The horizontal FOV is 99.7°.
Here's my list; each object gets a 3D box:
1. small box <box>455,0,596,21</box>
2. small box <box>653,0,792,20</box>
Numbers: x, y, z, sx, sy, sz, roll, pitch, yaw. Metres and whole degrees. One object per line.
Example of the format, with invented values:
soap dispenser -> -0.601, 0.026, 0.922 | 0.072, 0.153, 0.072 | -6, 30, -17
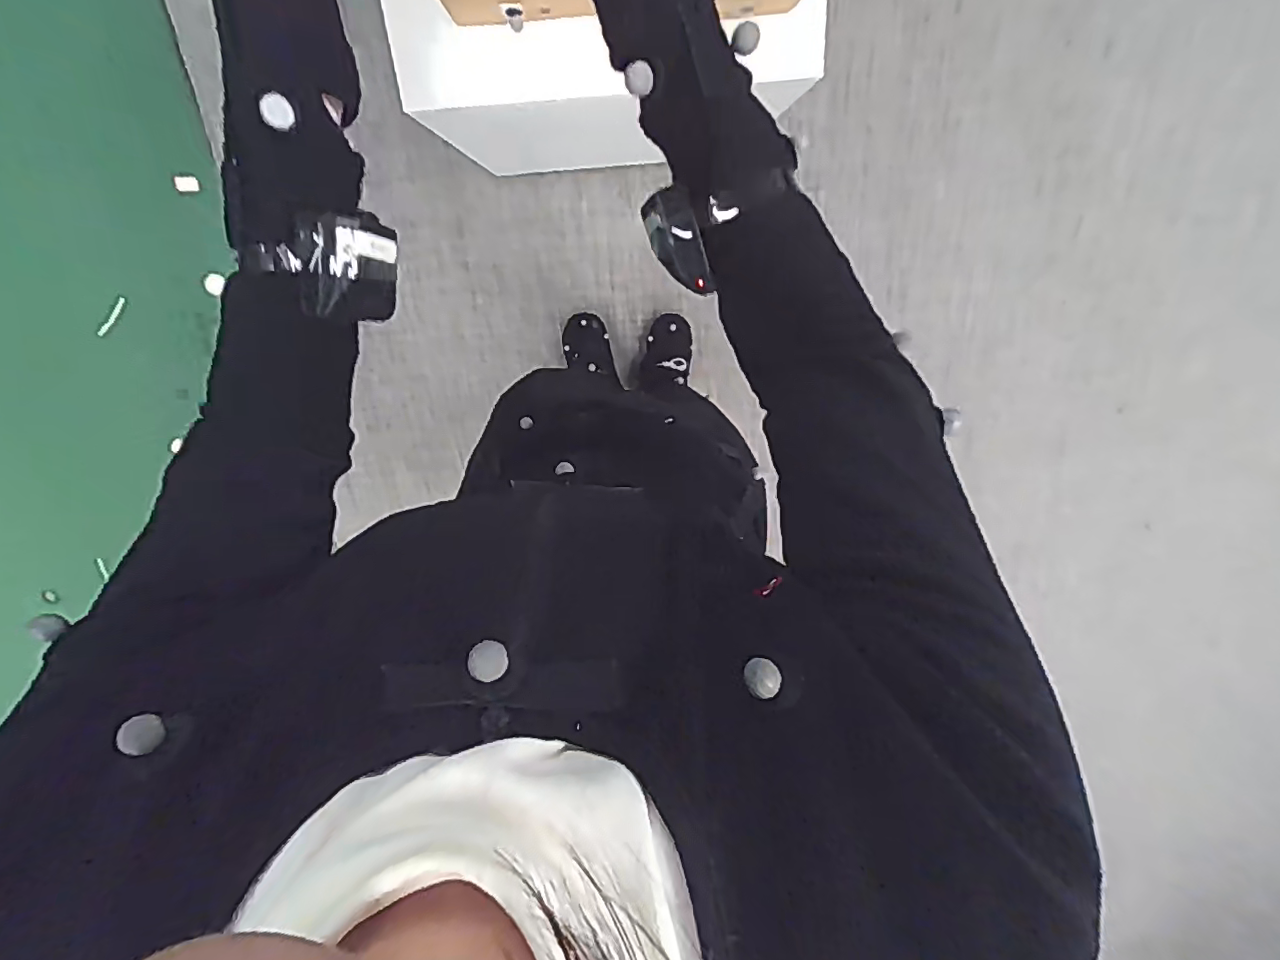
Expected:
small box -> -0.129, -0.571, 0.499 | 0.168, 0.176, 0.179 | -7, 114, 1
small box -> 0.090, -0.586, 0.515 | 0.168, 0.176, 0.179 | -5, 112, 0
